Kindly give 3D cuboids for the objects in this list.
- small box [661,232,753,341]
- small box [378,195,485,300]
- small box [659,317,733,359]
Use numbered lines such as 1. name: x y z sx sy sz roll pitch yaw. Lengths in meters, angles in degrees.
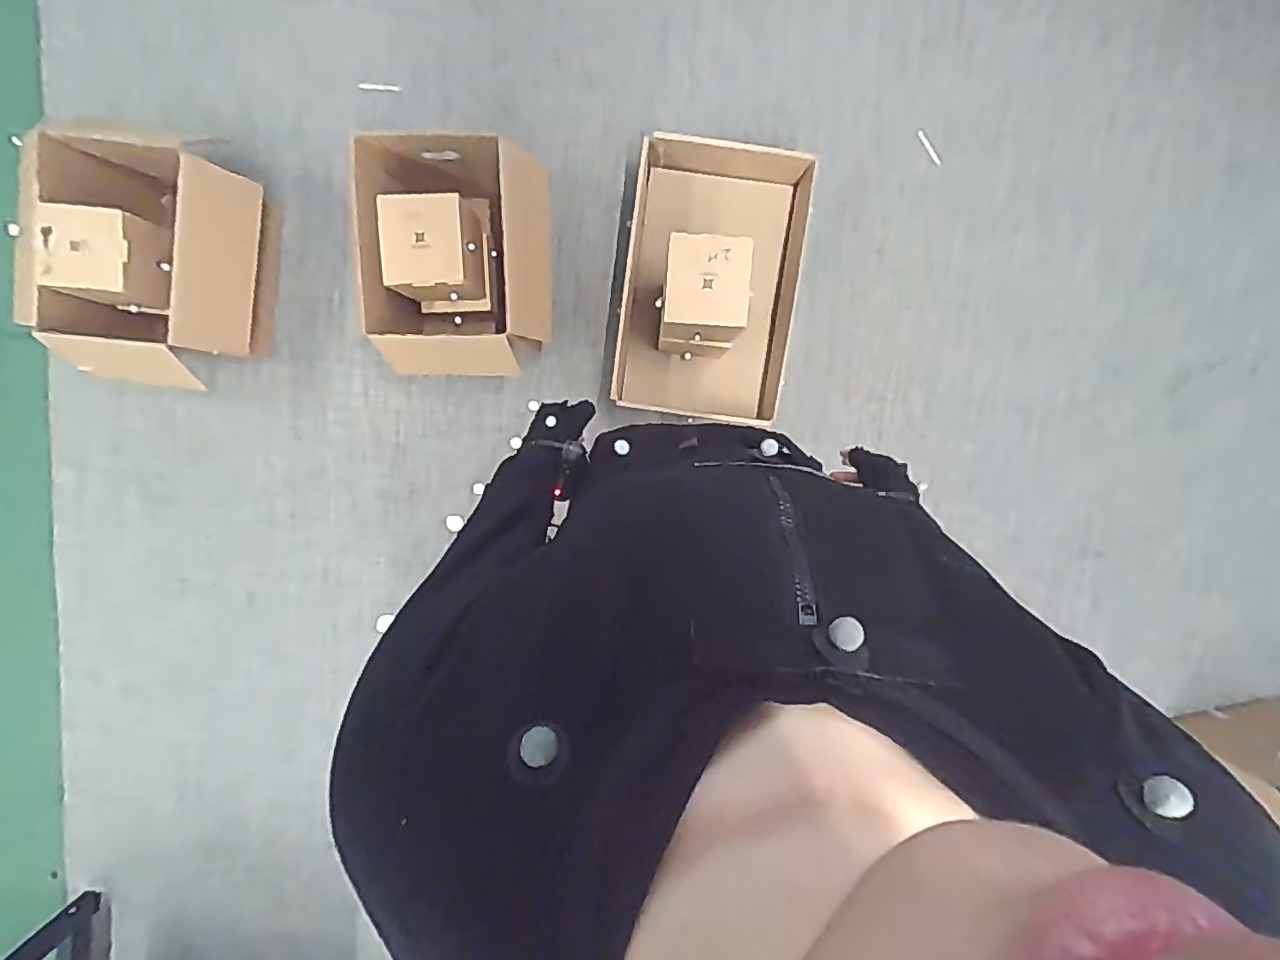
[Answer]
1. small box: 0.134 -0.395 1.132 0.168 0.176 0.179 3 94 -1
2. small box: -0.437 -0.489 1.160 0.168 0.176 0.179 -1 97 0
3. small box: 0.137 -0.399 1.296 0.168 0.176 0.179 6 94 0
